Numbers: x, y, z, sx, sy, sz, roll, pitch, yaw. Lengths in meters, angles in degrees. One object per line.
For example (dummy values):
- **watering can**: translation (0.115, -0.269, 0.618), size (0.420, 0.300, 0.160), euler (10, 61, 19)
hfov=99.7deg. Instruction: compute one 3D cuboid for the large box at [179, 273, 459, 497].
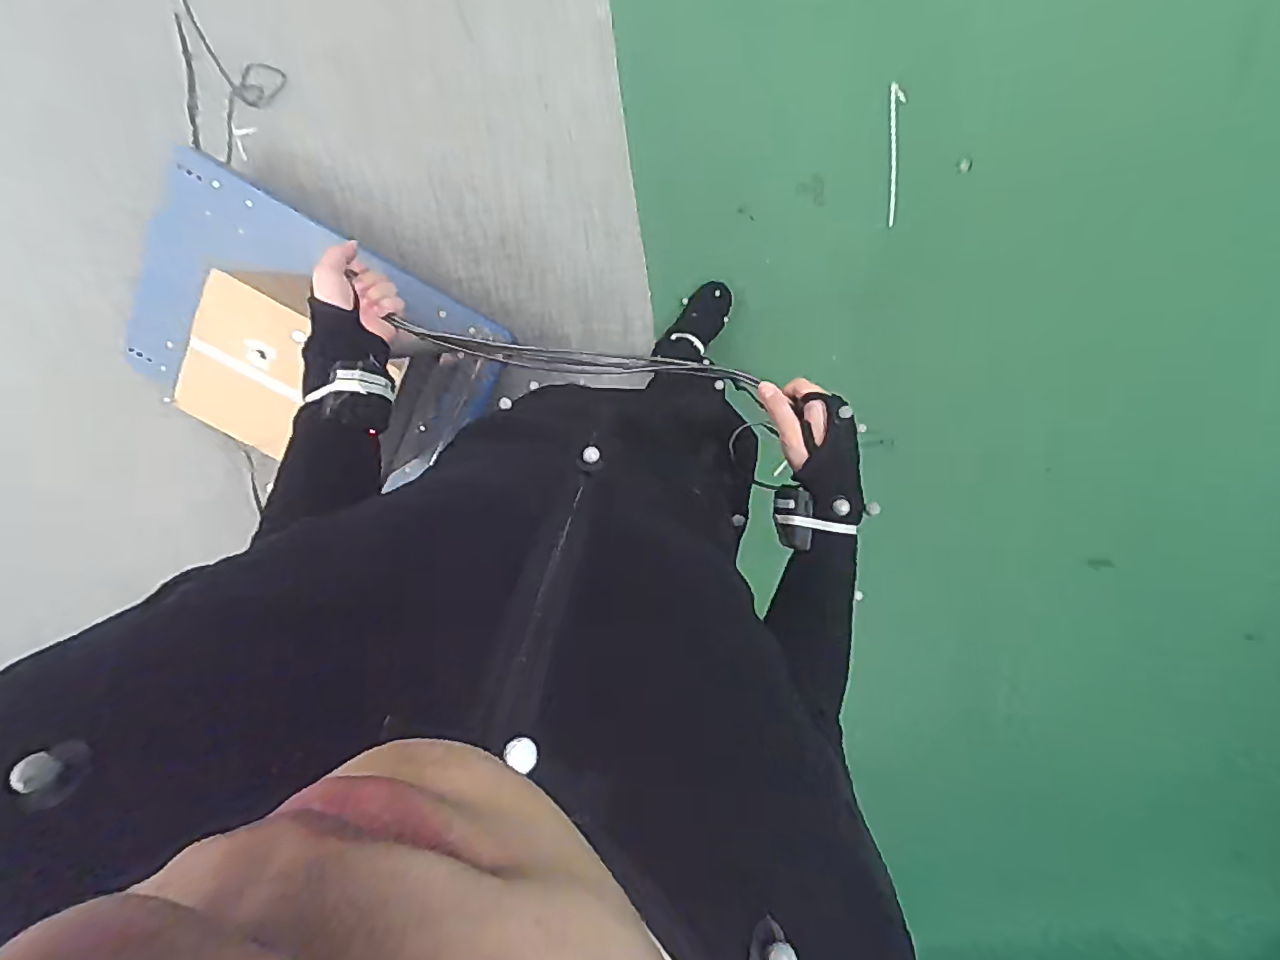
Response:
- **large box**: translation (-0.701, -0.222, 1.237), size (0.408, 0.320, 0.320), euler (30, 106, -6)
